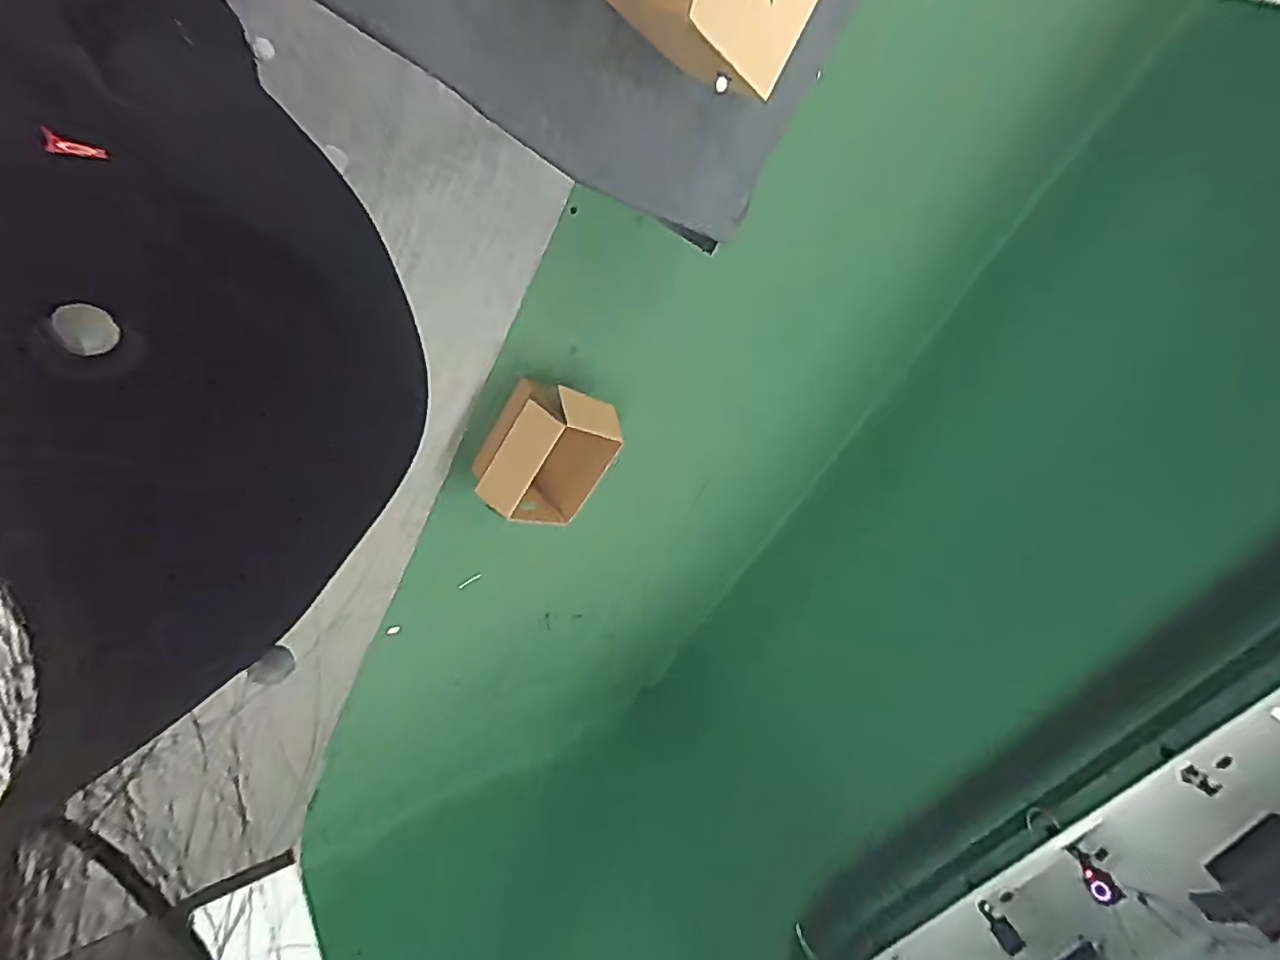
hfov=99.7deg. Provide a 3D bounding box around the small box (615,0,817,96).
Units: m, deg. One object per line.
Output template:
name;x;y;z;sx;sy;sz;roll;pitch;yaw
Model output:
small box;0.094;-0.602;0.634;0.179;0.176;0.168;0;128;-48
